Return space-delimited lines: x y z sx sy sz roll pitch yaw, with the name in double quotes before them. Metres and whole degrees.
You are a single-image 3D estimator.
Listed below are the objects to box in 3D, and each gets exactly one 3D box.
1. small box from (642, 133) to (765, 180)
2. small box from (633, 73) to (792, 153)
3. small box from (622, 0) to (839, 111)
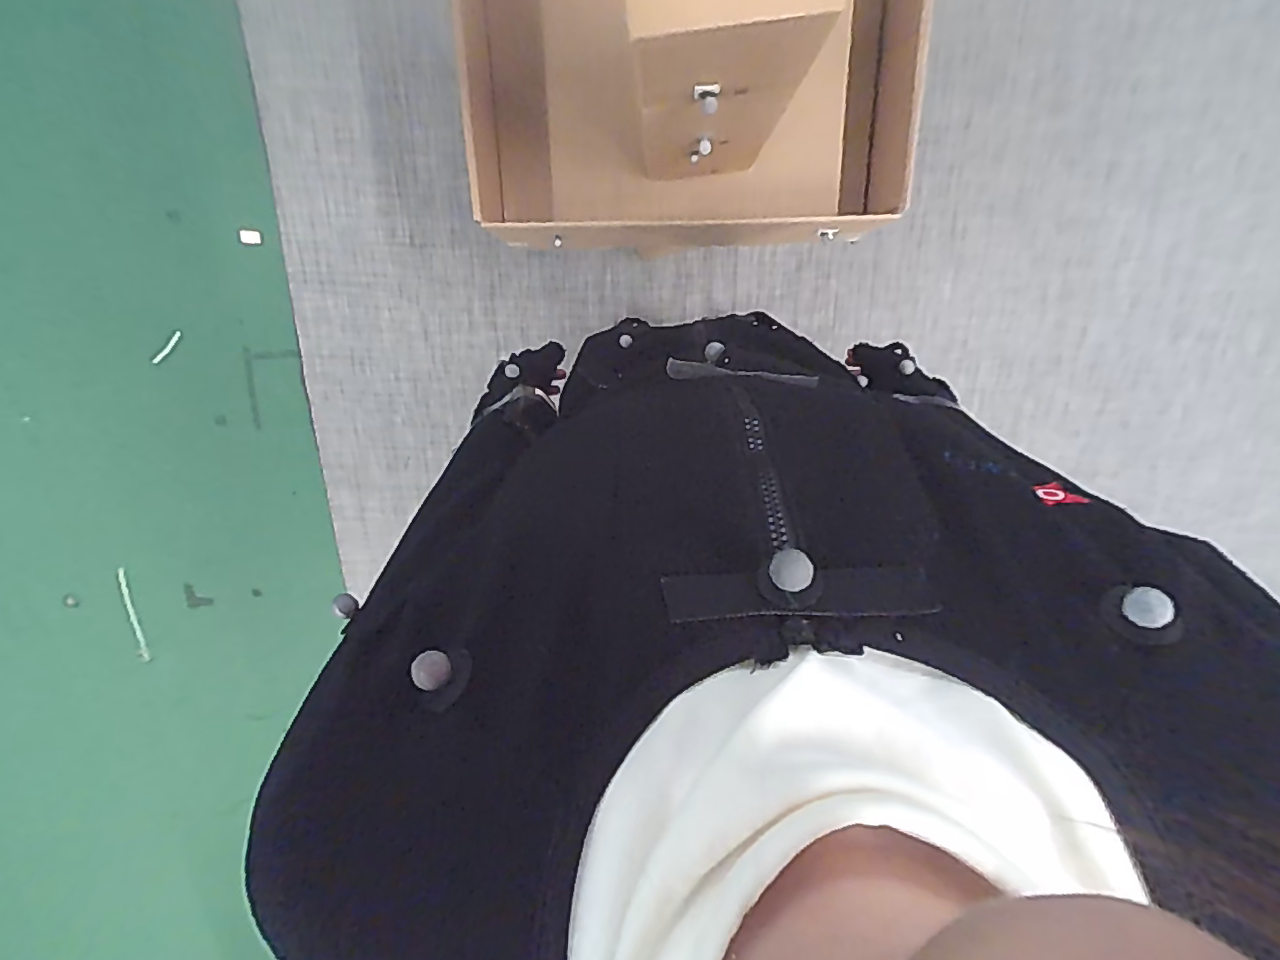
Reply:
"small box" 0.082 -0.554 0.773 0.168 0.176 0.179 -4 106 5
"small box" 0.072 -0.502 0.618 0.168 0.176 0.179 -4 107 4
"small box" 0.066 -0.454 0.464 0.168 0.176 0.179 -4 108 5
